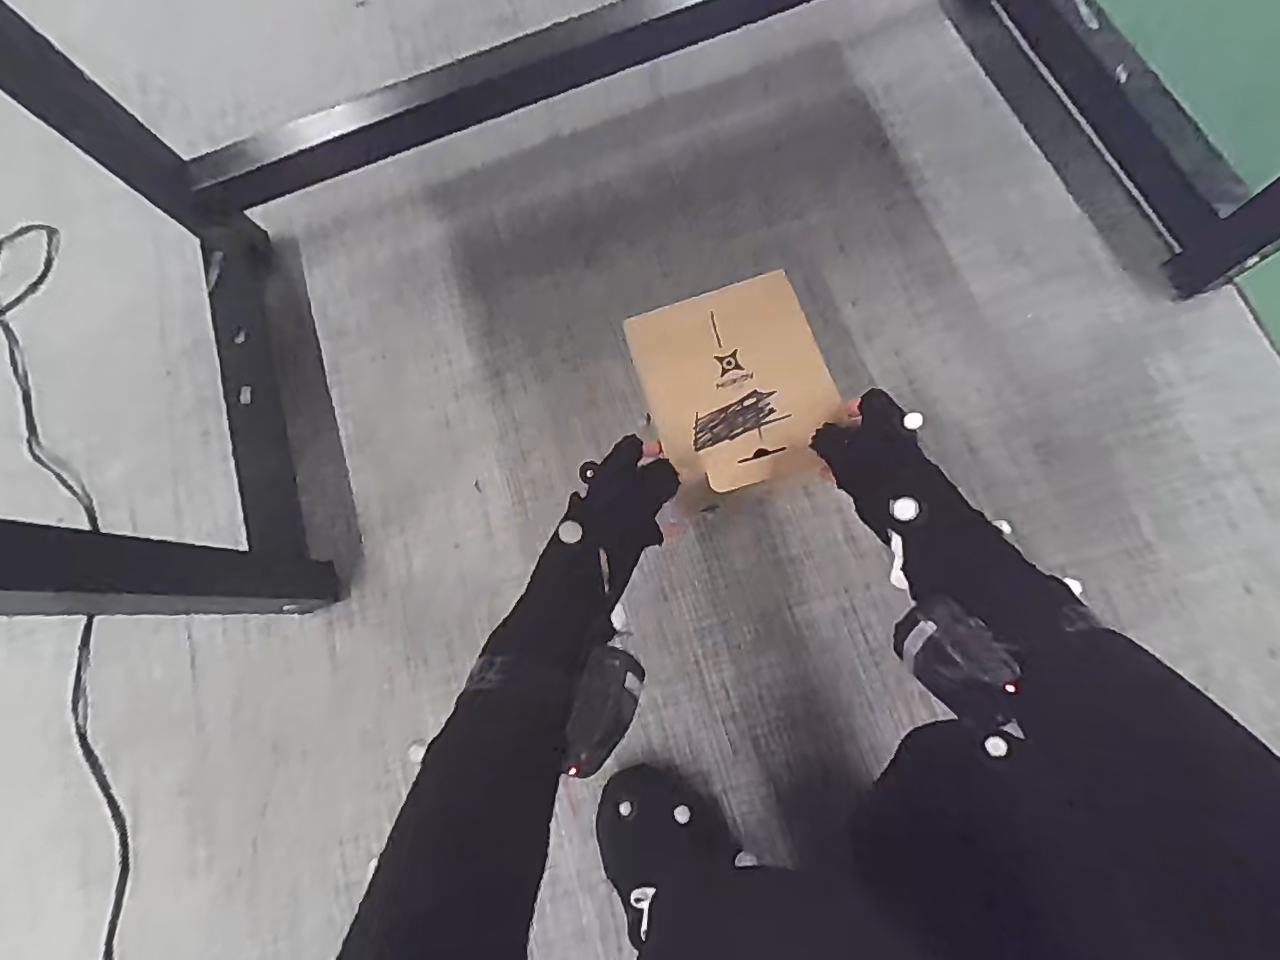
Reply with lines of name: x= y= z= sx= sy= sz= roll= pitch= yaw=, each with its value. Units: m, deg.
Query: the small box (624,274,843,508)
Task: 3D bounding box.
small box: x=0.094 y=-0.078 z=0.578 sx=0.168 sy=0.176 sz=0.179 roll=-16 pitch=73 yaw=3
